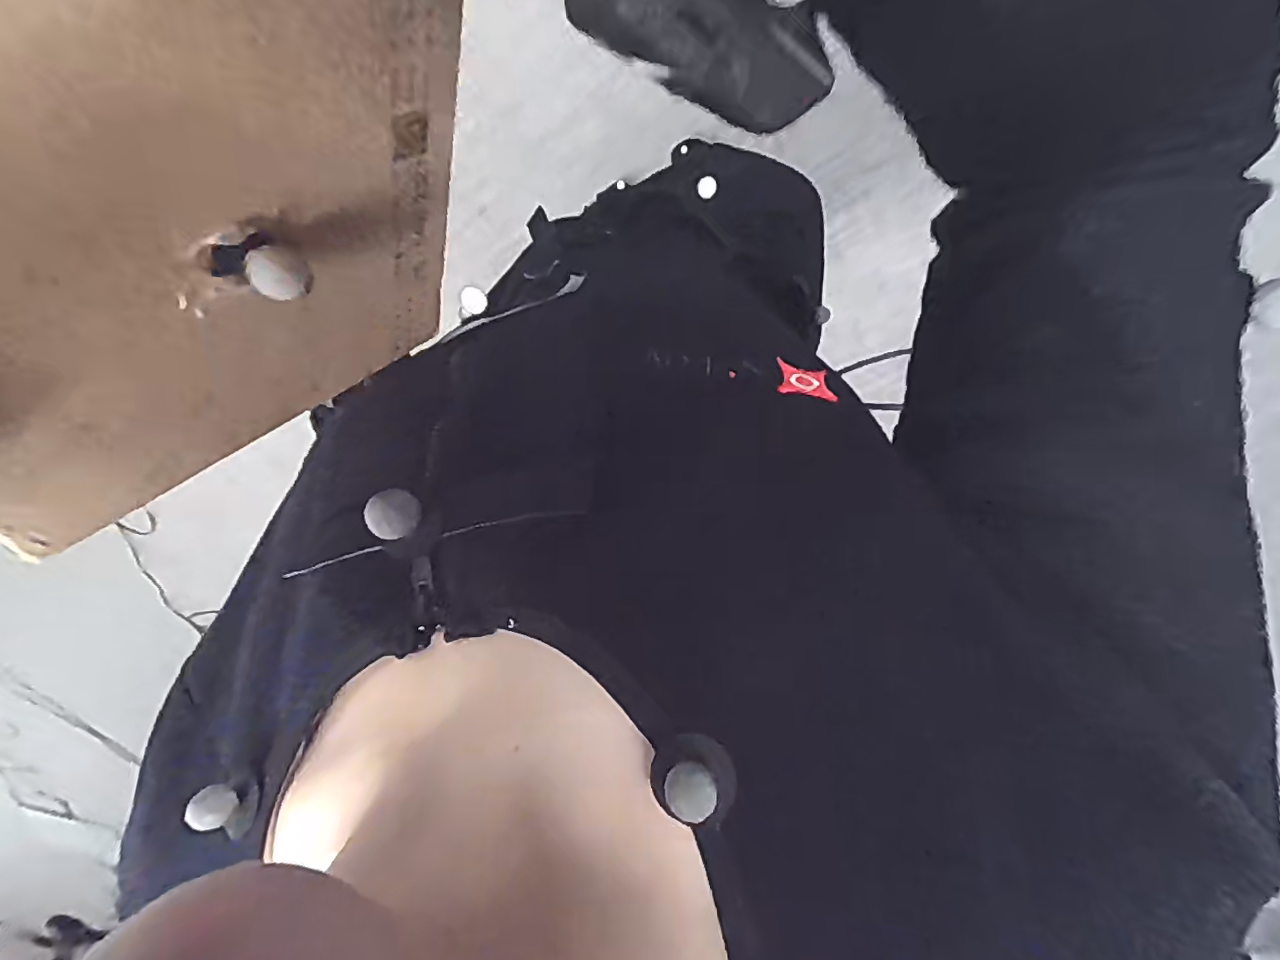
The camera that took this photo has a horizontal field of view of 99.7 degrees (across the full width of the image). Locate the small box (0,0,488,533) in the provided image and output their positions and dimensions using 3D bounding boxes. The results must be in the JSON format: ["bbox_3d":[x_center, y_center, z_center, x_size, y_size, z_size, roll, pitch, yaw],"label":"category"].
[{"bbox_3d":[-0.171,-0.122,0.161,0.179,0.176,0.168,41,142,2],"label":"small box"}]
